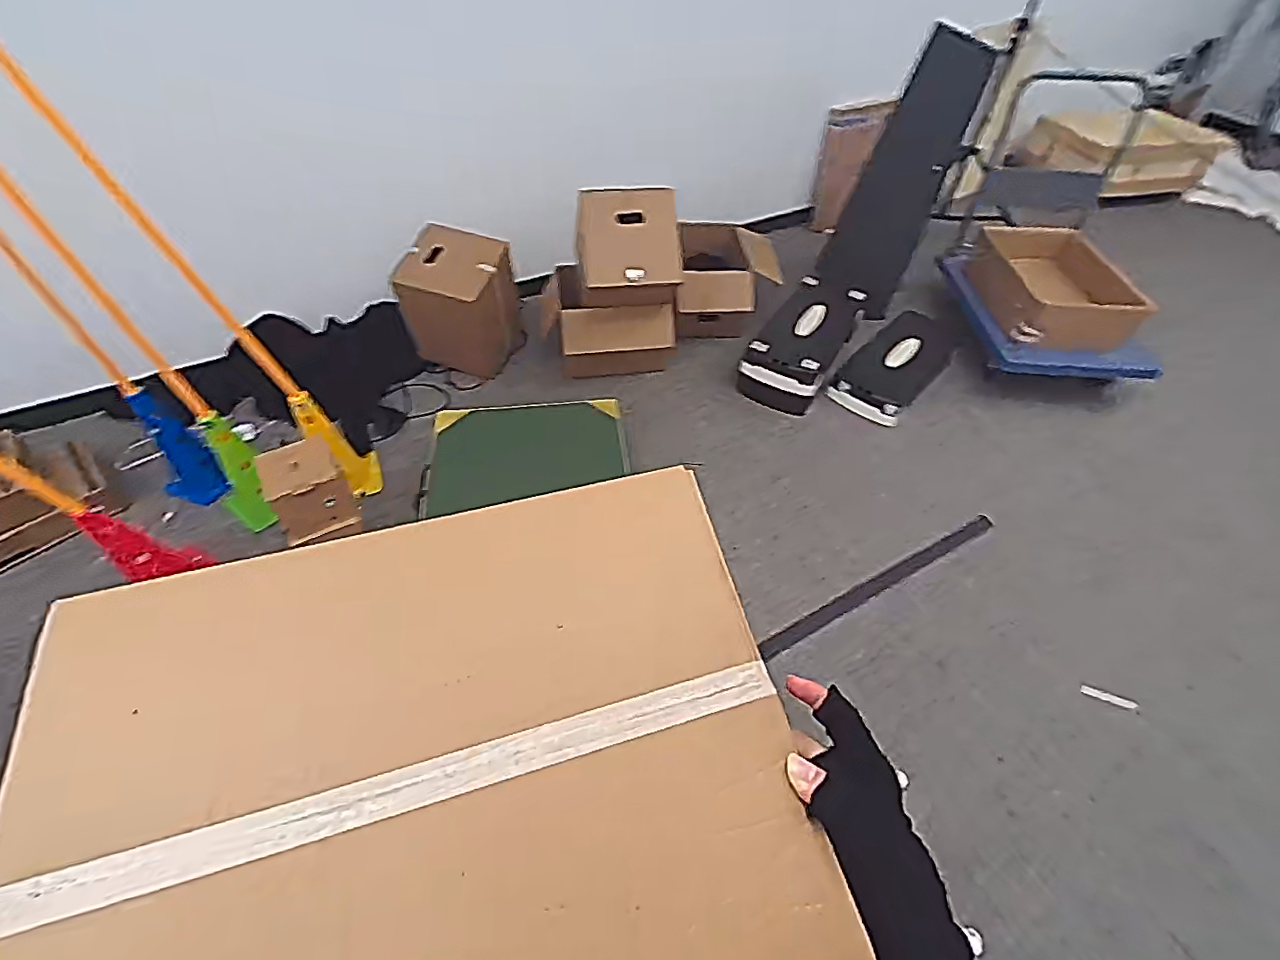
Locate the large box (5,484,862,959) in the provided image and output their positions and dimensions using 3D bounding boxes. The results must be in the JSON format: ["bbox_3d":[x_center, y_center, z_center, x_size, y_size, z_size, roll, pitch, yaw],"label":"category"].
[{"bbox_3d":[-0.121,0.244,0.430,0.408,0.320,0.320,-12,61,-10],"label":"large box"}]
